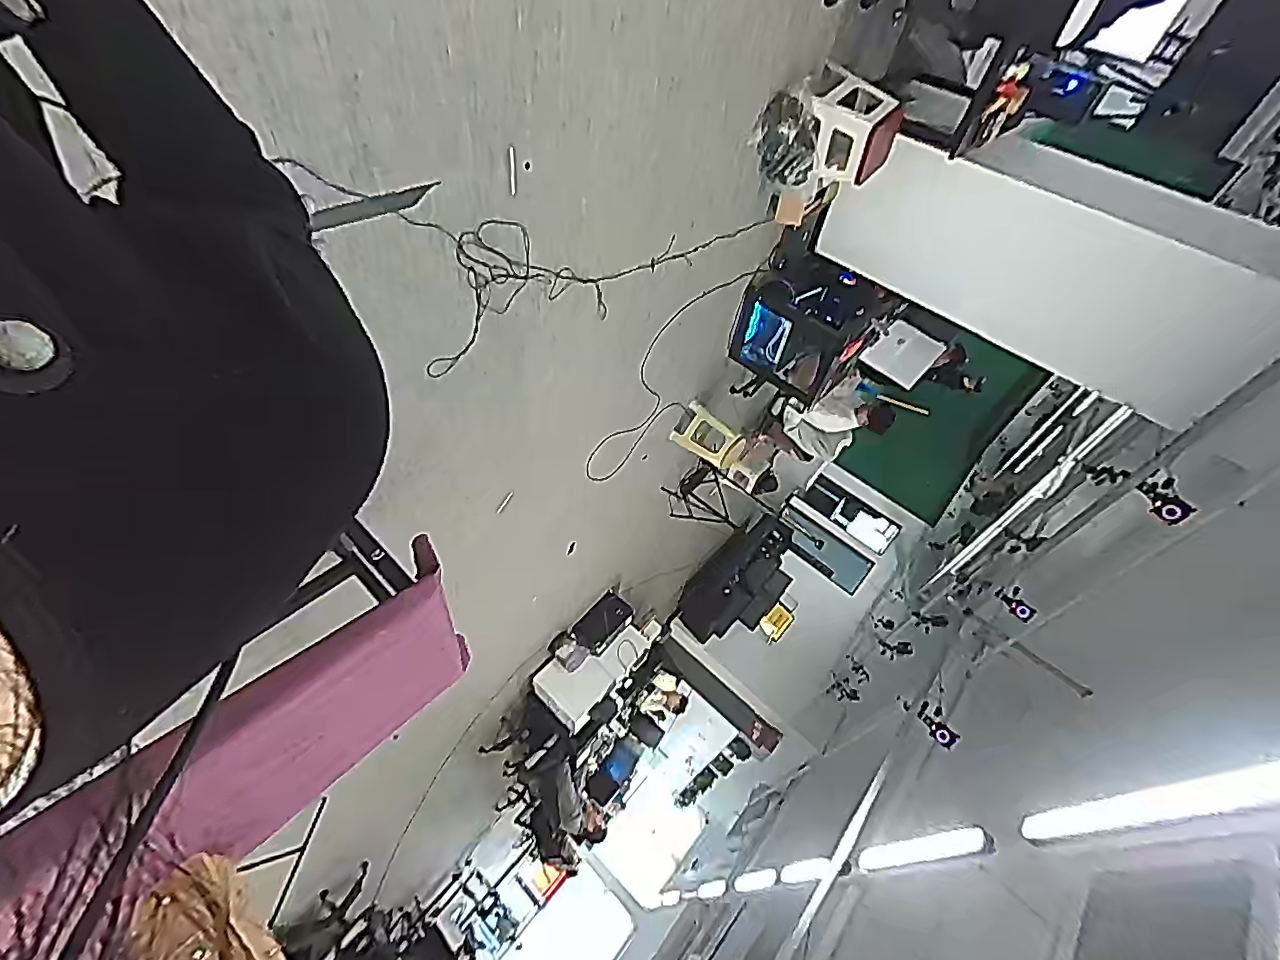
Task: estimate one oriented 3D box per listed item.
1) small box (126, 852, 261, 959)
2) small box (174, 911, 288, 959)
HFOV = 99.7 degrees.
[{"bbox_3d":[-1.073,1.041,1.306,0.168,0.176,0.179,-39,155,-33],"label":"small box"},{"bbox_3d":[-0.956,1.138,1.249,0.168,0.176,0.179,-41,155,-31],"label":"small box"}]
